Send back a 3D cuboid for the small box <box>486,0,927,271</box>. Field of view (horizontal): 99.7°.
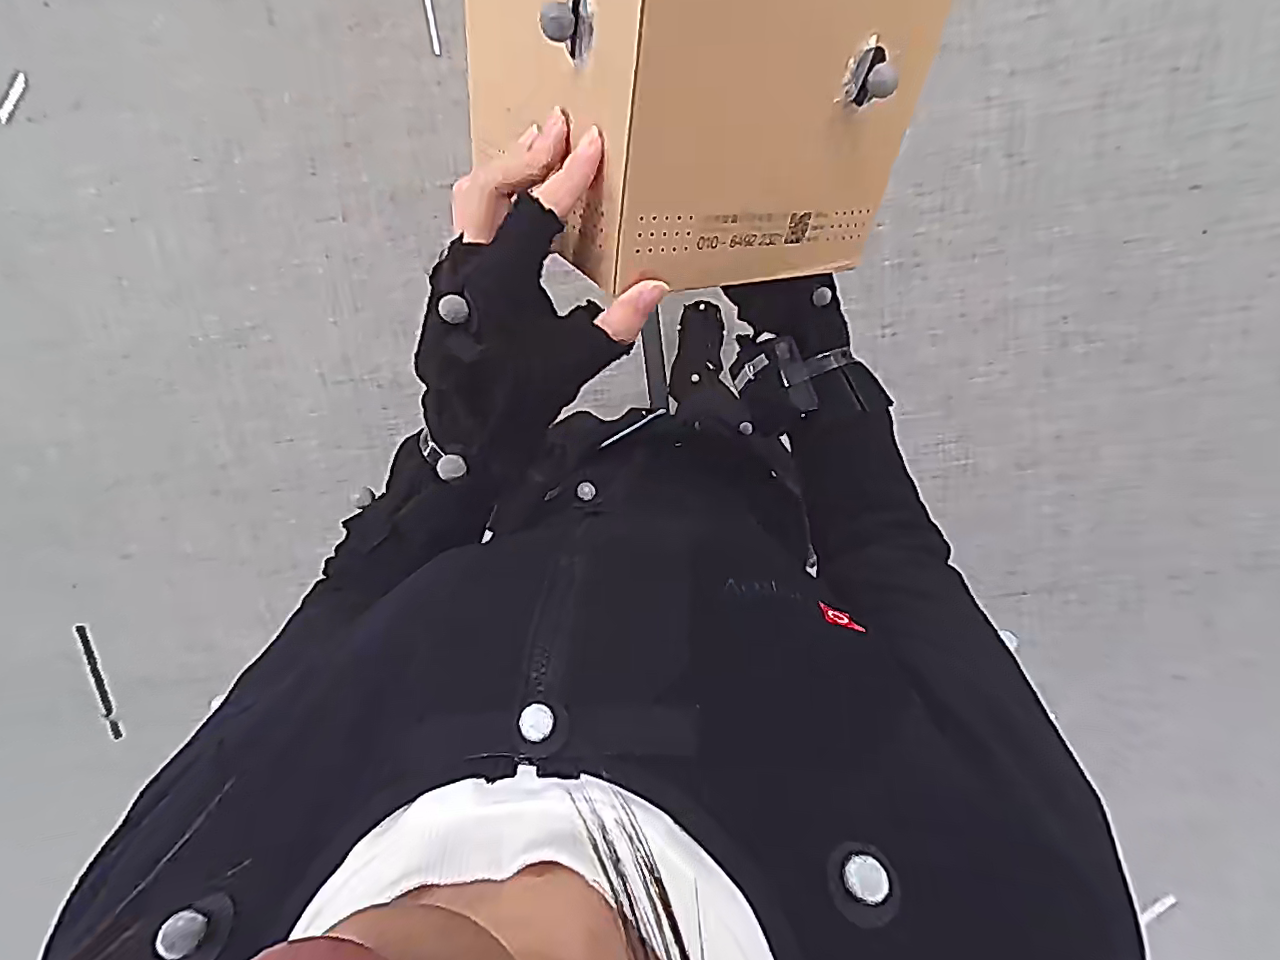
[{"bbox_3d":[0.026,-0.221,0.291,0.168,0.179,0.176,-17,136,-30],"label":"small box"}]
